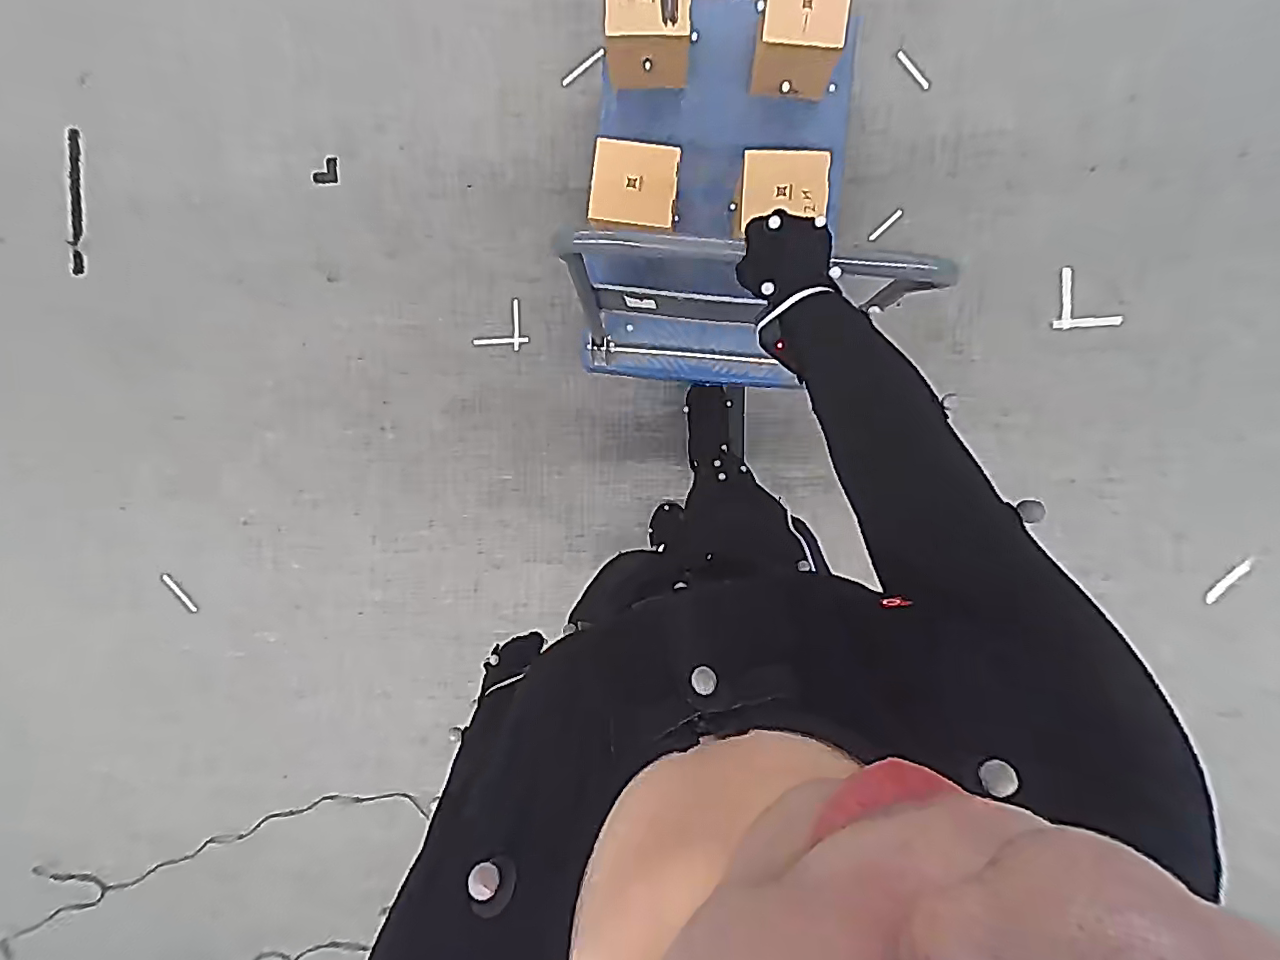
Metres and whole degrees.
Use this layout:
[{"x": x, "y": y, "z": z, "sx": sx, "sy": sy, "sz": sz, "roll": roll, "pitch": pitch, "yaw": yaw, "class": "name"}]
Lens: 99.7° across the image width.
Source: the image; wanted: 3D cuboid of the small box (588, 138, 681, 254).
[{"x": -0.011, "y": -0.615, "z": 1.190, "sx": 0.179, "sy": 0.176, "sz": 0.168, "roll": 7, "pitch": 93, "yaw": 0, "class": "small box"}]

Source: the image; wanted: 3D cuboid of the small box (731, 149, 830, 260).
[{"x": 0.297, "y": -0.593, "z": 1.182, "sx": 0.179, "sy": 0.176, "sz": 0.168, "roll": 3, "pitch": 94, "yaw": 2, "class": "small box"}]

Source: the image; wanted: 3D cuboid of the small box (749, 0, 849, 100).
[{"x": 0.336, "y": -0.964, "z": 1.157, "sx": 0.168, "sy": 0.176, "sz": 0.179, "roll": 6, "pitch": 95, "yaw": 2, "class": "small box"}]
